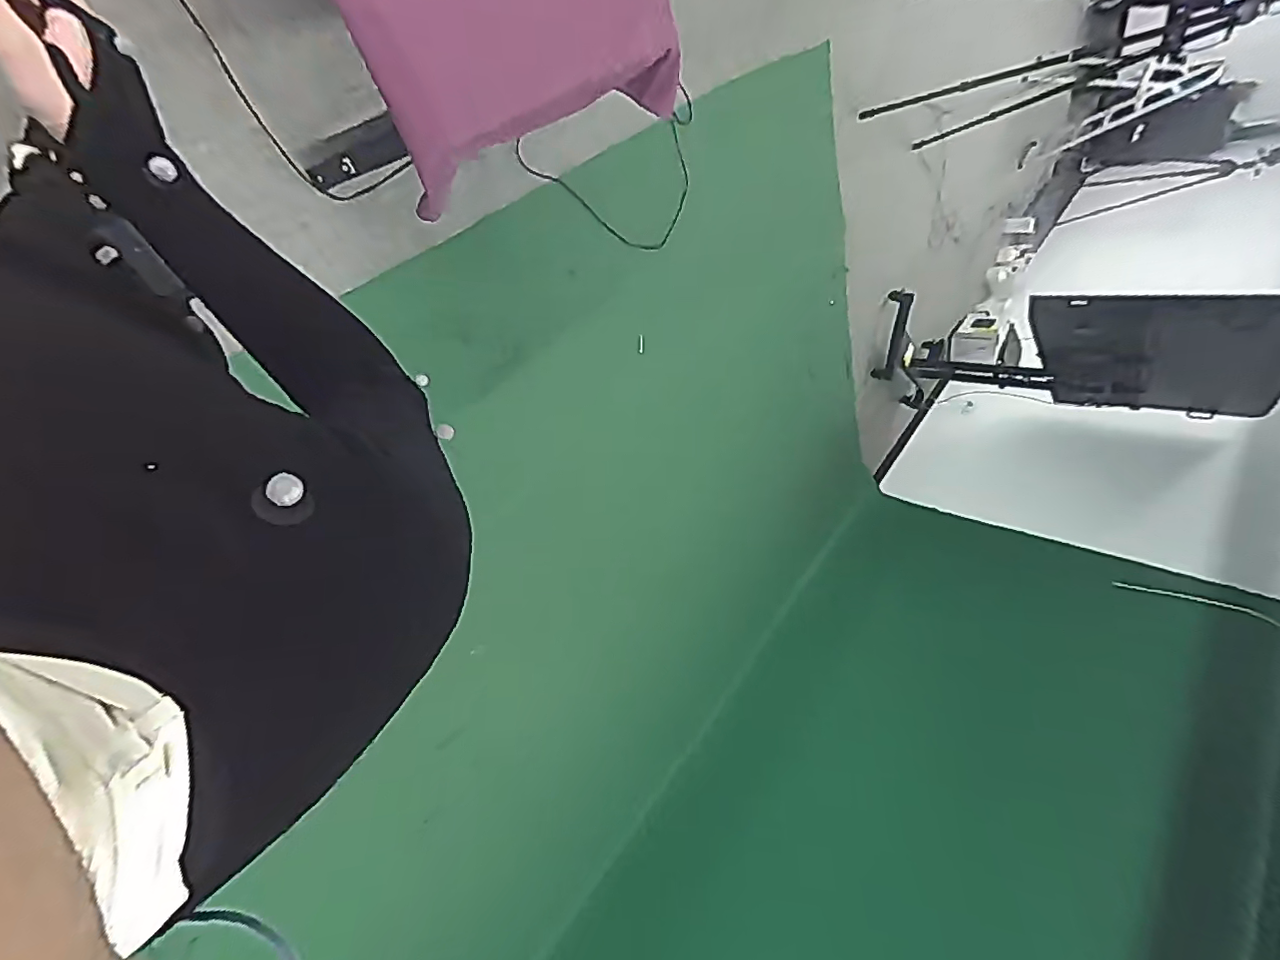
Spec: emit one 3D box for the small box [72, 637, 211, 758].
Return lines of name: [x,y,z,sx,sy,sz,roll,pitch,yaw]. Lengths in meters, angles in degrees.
small box: [-1.167,0.502,1.270,0.168,0.176,0.179,-44,132,-28]
